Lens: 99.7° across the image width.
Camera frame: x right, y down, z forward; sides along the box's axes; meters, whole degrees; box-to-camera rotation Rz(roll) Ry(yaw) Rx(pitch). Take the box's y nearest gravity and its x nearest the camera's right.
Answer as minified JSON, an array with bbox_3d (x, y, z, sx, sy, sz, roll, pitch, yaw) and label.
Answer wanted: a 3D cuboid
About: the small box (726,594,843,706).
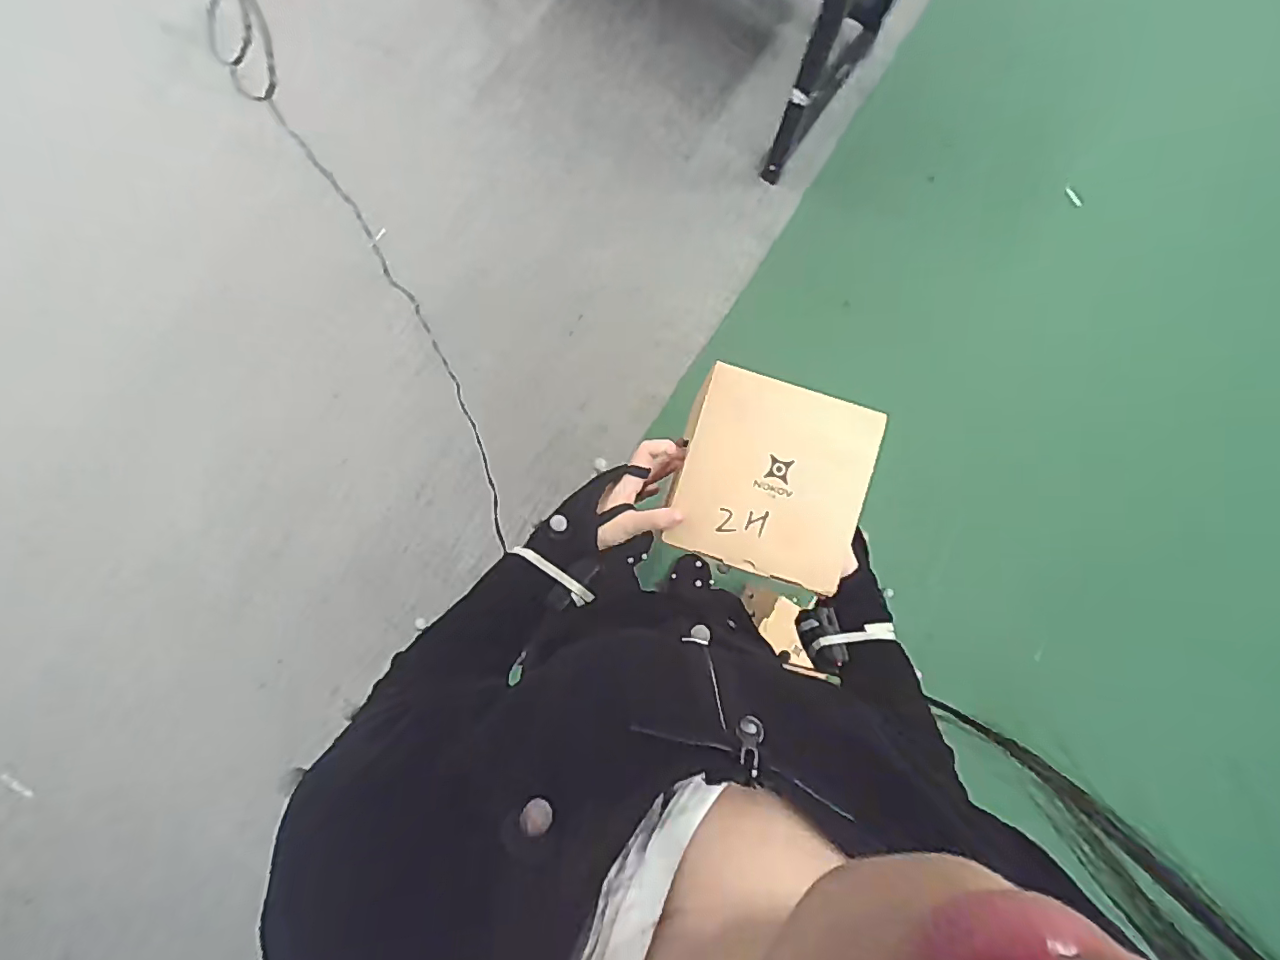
[{"bbox_3d":[0.324,0.378,1.245,0.179,0.176,0.168,33,84,1],"label":"small box"}]
